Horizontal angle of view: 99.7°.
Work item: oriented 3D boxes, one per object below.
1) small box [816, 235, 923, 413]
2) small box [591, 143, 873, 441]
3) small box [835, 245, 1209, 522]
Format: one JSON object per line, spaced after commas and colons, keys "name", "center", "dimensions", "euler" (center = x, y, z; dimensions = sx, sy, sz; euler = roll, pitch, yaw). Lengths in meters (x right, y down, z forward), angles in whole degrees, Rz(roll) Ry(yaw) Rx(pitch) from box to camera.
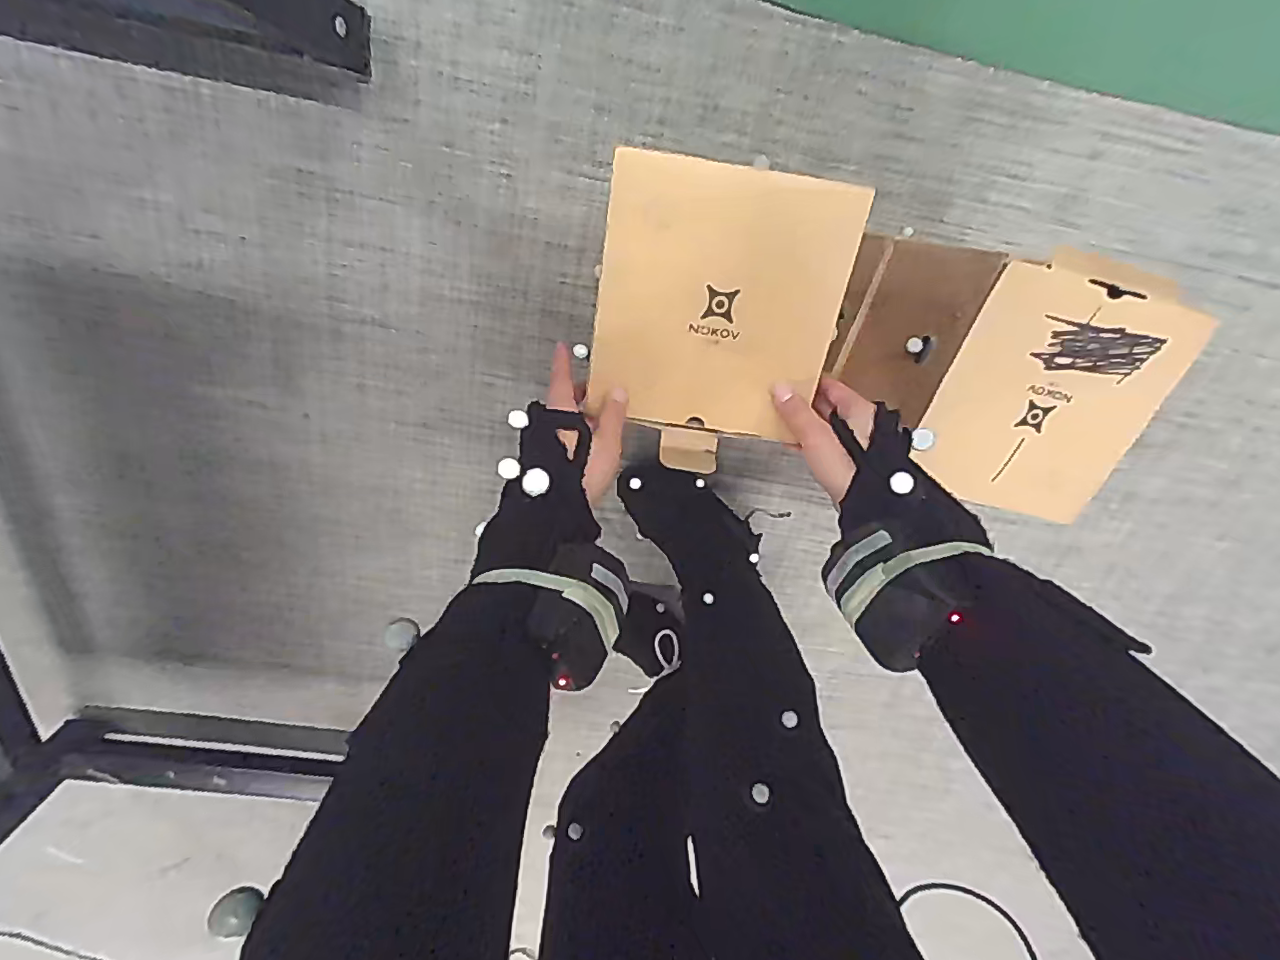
{"name": "small box", "center": [0.288, -0.170, 0.619], "dimensions": [0.168, 0.176, 0.179], "euler": [13, 117, -6]}
{"name": "small box", "center": [0.054, -0.152, 0.441], "dimensions": [0.168, 0.176, 0.179], "euler": [7, 116, -4]}
{"name": "small box", "center": [0.296, -0.094, 0.473], "dimensions": [0.168, 0.176, 0.179], "euler": [14, 116, -6]}
